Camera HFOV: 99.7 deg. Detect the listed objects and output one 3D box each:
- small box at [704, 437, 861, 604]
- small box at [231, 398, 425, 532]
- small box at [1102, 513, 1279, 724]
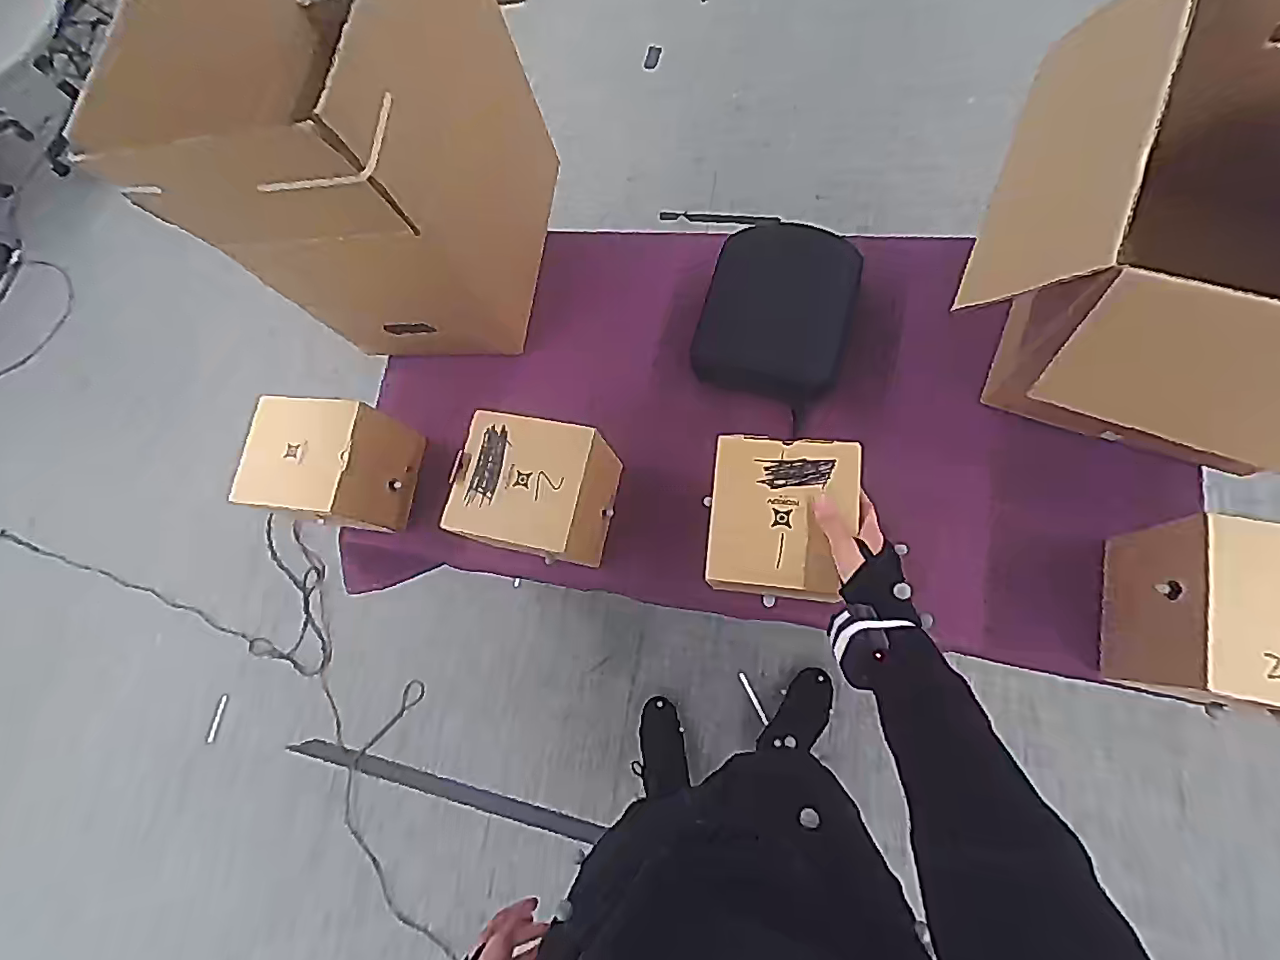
[{"bbox_3d":[0.178,0.058,0.690,0.168,0.176,0.179,4,77,13],"label":"small box"},{"bbox_3d":[-0.474,-0.017,0.847,0.179,0.176,0.168,5,76,12],"label":"small box"},{"bbox_3d":[0.629,0.150,0.567,0.168,0.176,0.179,11,77,15],"label":"small box"}]
